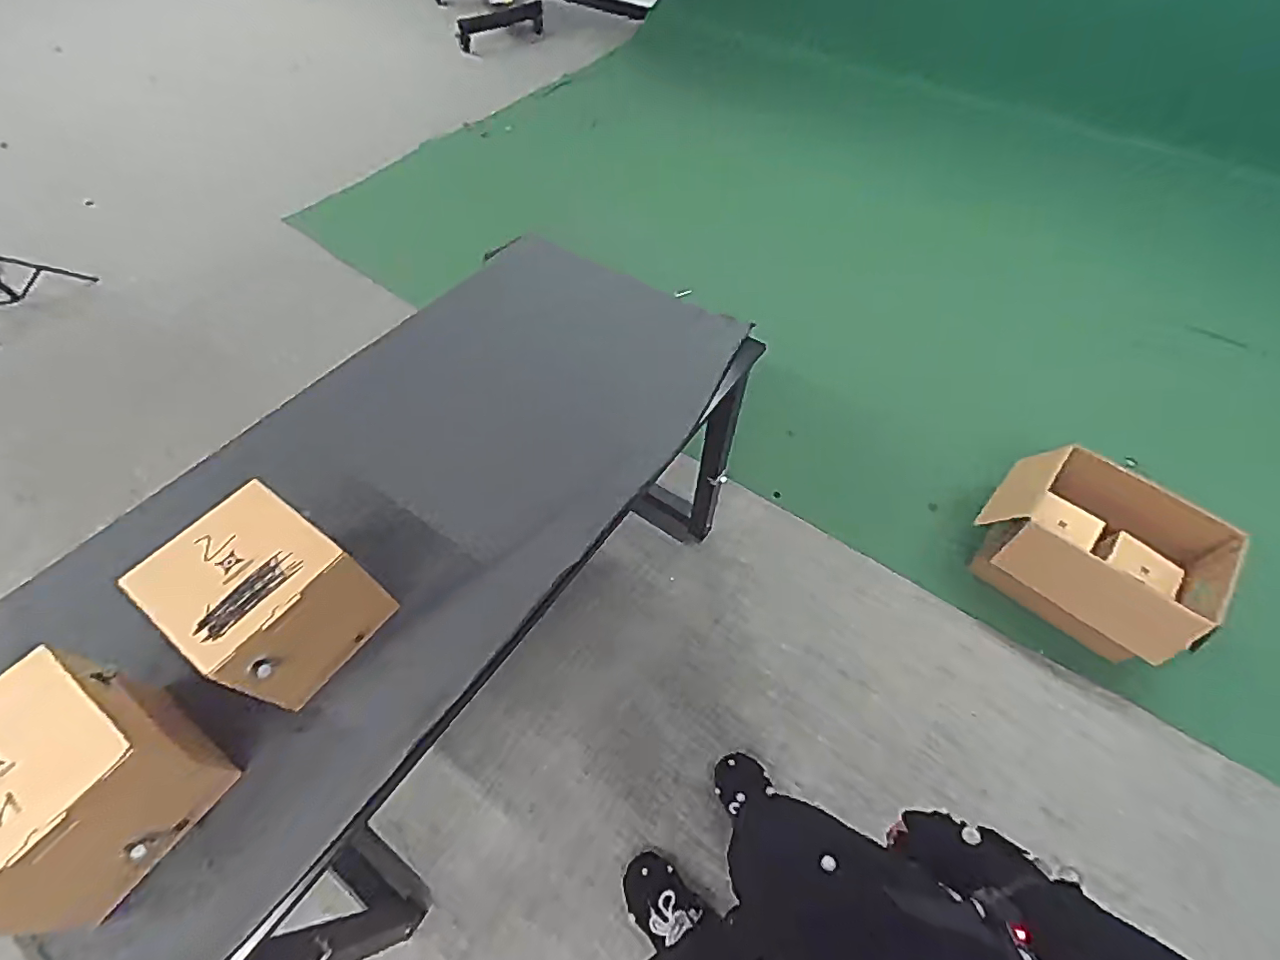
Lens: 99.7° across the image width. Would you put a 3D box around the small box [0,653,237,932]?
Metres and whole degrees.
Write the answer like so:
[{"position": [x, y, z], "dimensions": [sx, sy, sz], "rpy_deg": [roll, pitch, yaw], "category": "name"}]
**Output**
[{"position": [-0.565, 0.311, 0.536], "dimensions": [0.179, 0.176, 0.168], "rpy_deg": [28, 59, 19], "category": "small box"}]
